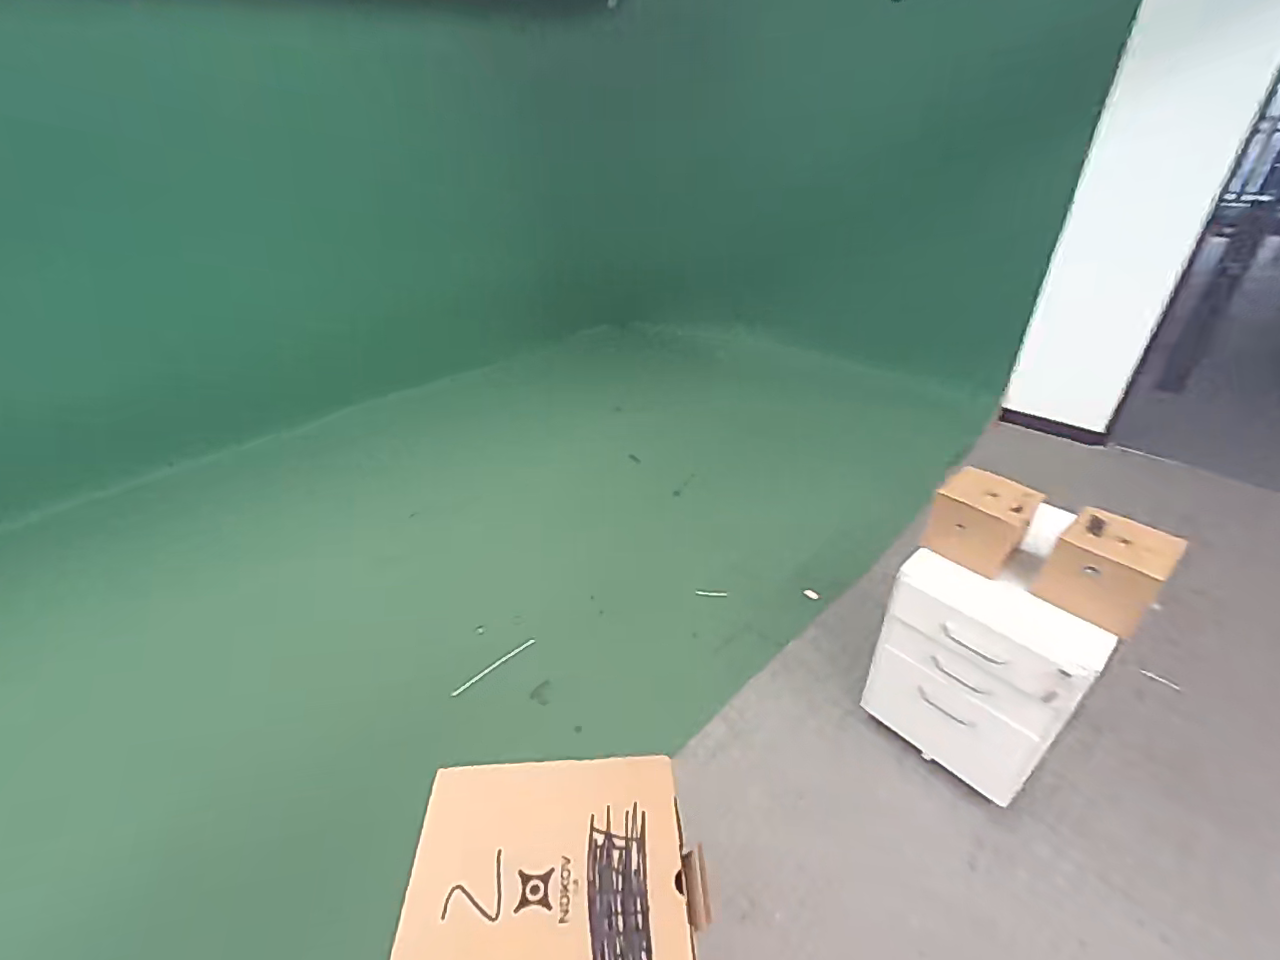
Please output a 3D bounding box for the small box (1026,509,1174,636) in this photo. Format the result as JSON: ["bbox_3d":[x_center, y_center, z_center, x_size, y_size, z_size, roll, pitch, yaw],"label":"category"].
[{"bbox_3d":[0.969,0.196,1.153,0.168,0.176,0.179,-27,40,-30],"label":"small box"}]

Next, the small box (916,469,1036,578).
[{"bbox_3d":[0.799,0.104,1.302,0.168,0.176,0.179,-28,42,-31],"label":"small box"}]
